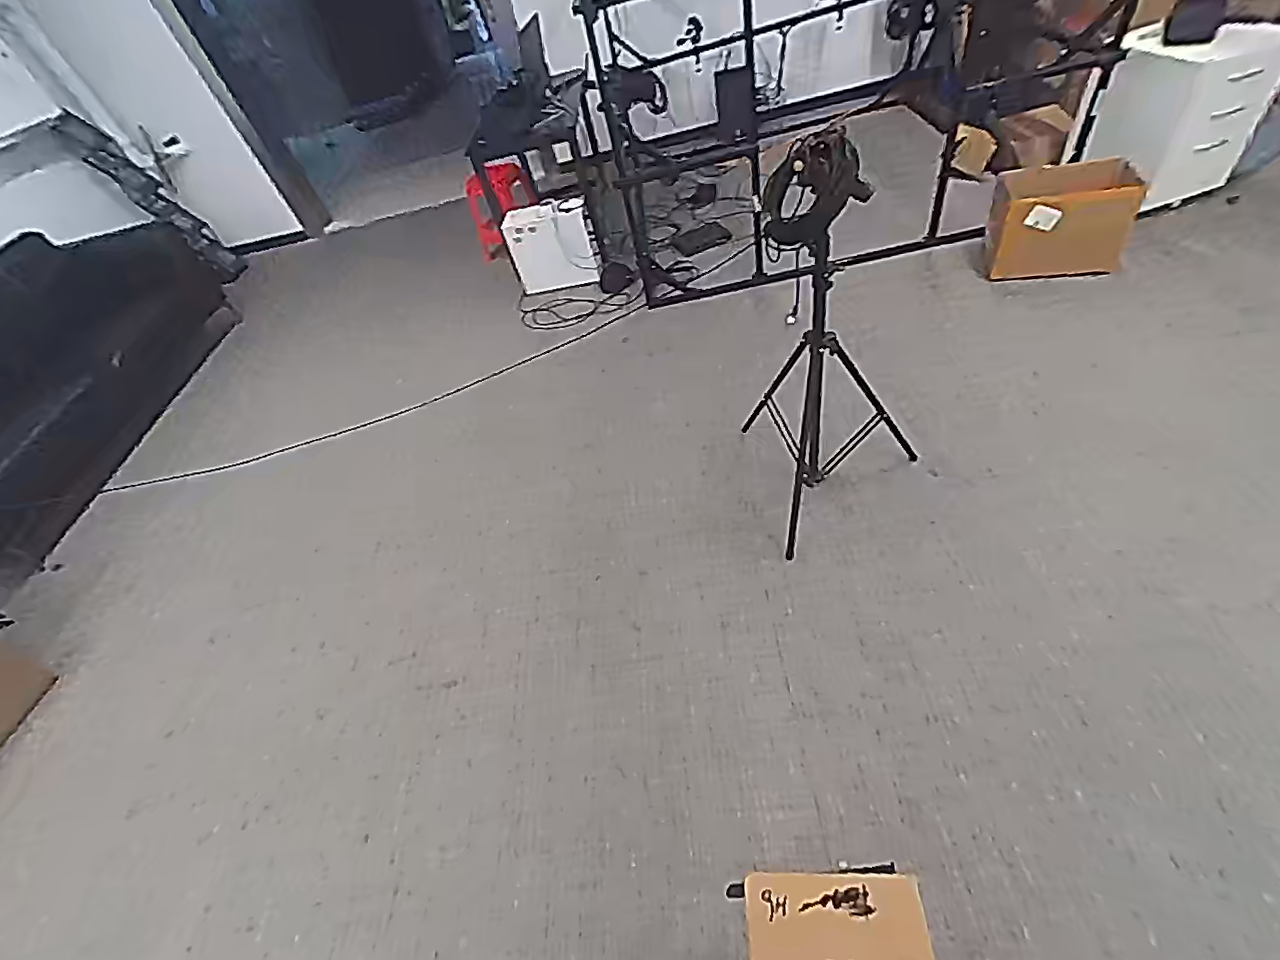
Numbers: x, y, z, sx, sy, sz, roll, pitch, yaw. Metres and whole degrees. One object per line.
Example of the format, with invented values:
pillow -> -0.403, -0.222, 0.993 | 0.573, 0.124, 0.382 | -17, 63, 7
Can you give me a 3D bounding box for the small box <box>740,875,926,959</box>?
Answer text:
small box -> 0.197, 0.512, 0.542 | 0.168, 0.176, 0.179 | -7, 49, 11
